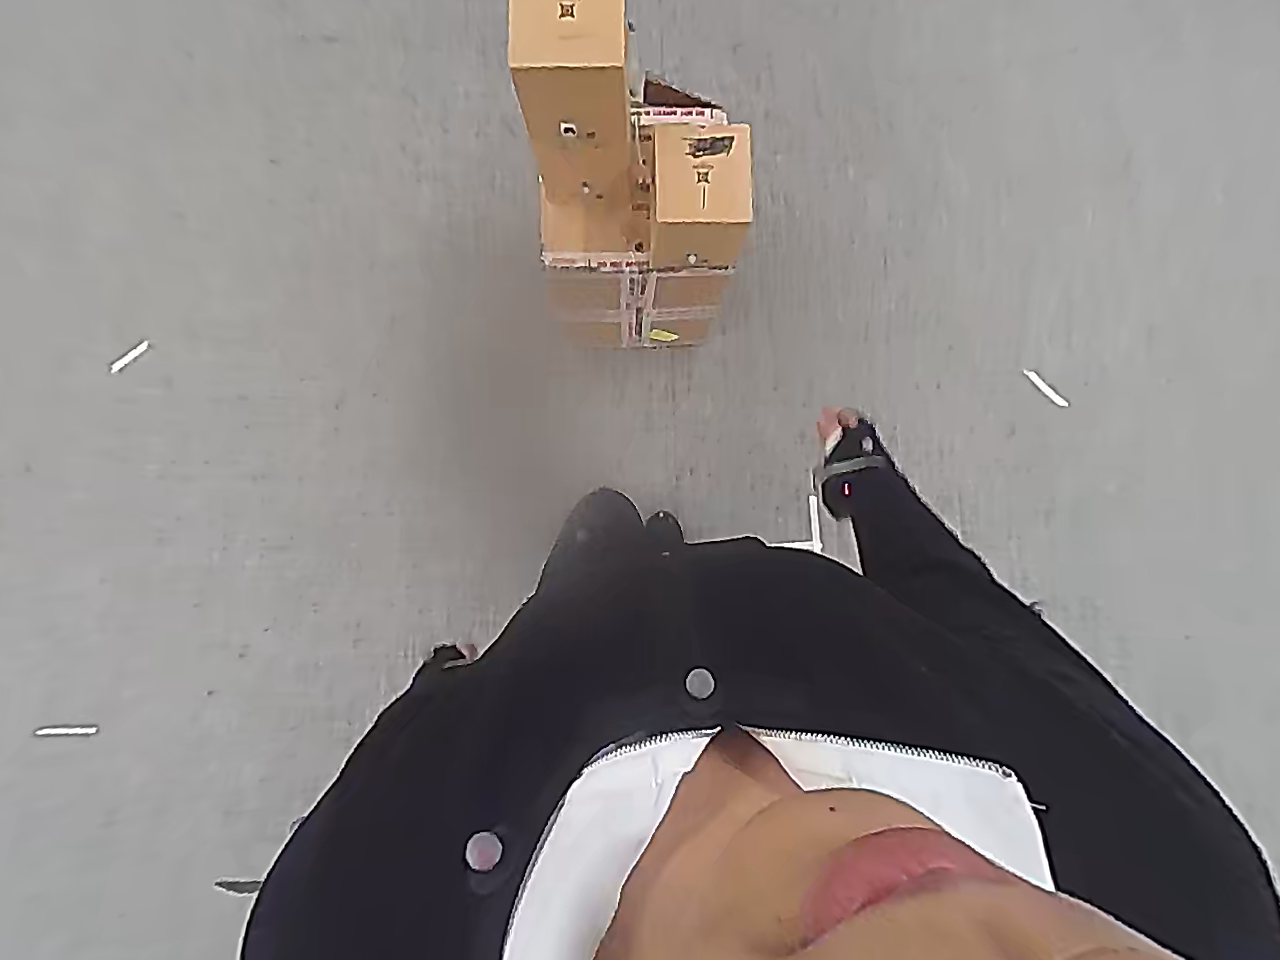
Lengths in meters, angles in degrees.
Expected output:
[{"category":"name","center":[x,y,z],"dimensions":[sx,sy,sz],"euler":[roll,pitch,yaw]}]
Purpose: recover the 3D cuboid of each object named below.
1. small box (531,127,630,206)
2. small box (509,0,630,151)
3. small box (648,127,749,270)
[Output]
[{"category":"small box","center":[-0.105,-0.642,1.006],"dimensions":[0.168,0.176,0.179],"euler":[0,86,0]},{"category":"small box","center":[-0.102,-0.652,0.844],"dimensions":[0.168,0.176,0.179],"euler":[0,87,1]},{"category":"small box","center":[0.101,-0.513,1.002],"dimensions":[0.168,0.176,0.179],"euler":[-1,87,-2]}]
